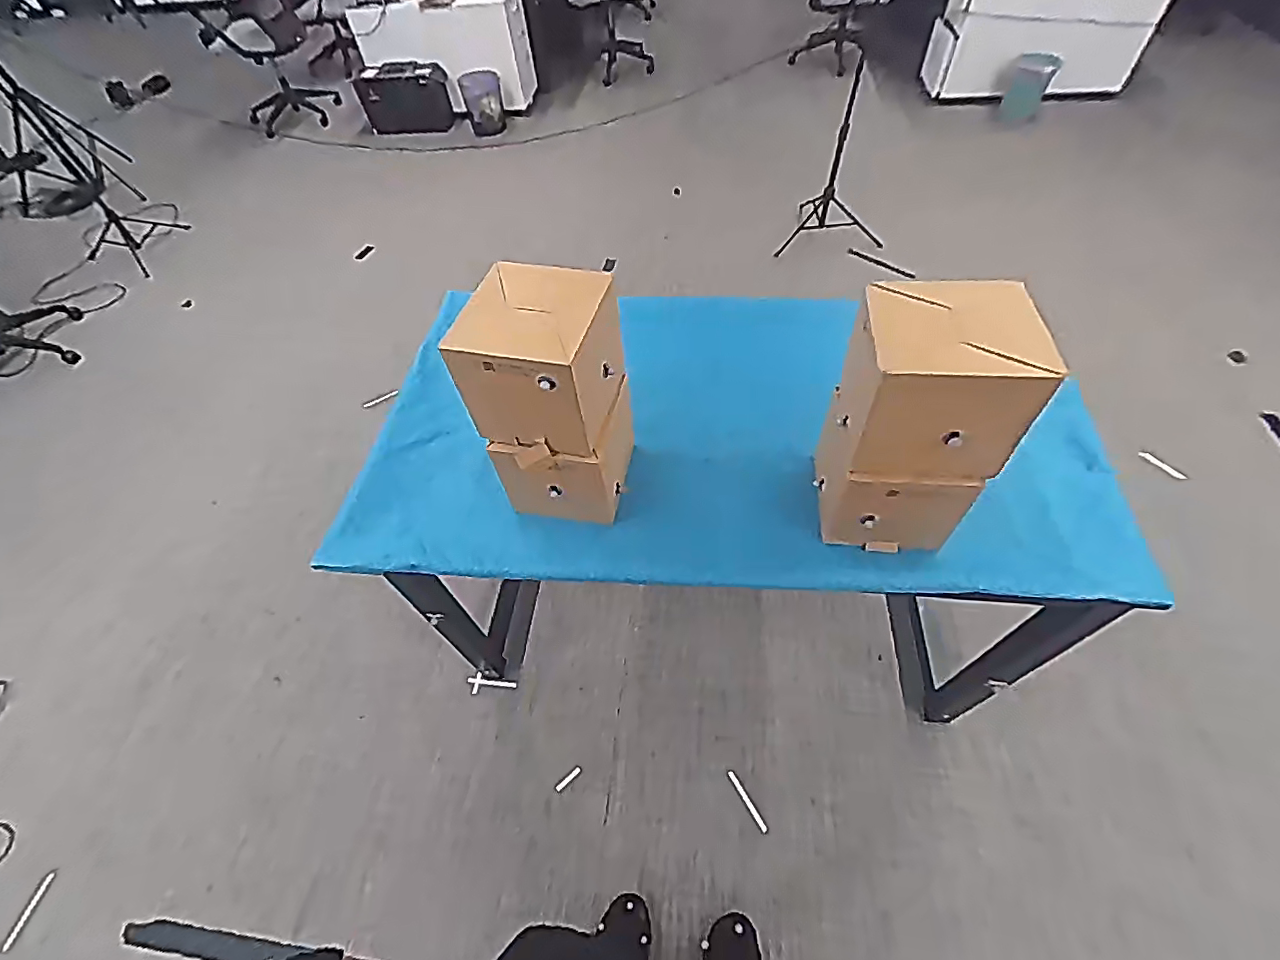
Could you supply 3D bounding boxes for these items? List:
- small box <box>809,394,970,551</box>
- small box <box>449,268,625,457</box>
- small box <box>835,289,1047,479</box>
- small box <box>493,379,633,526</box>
[{"bbox_3d":[0.353,-0.015,0.790,0.168,0.176,0.179,3,53,6],"label":"small box"},{"bbox_3d":[-0.128,-0.158,0.726,0.168,0.176,0.179,10,57,11],"label":"small box"},{"bbox_3d":[0.349,-0.117,0.662,0.179,0.176,0.168,2,52,10],"label":"small box"},{"bbox_3d":[-0.112,-0.051,0.851,0.168,0.176,0.179,7,55,9],"label":"small box"}]
